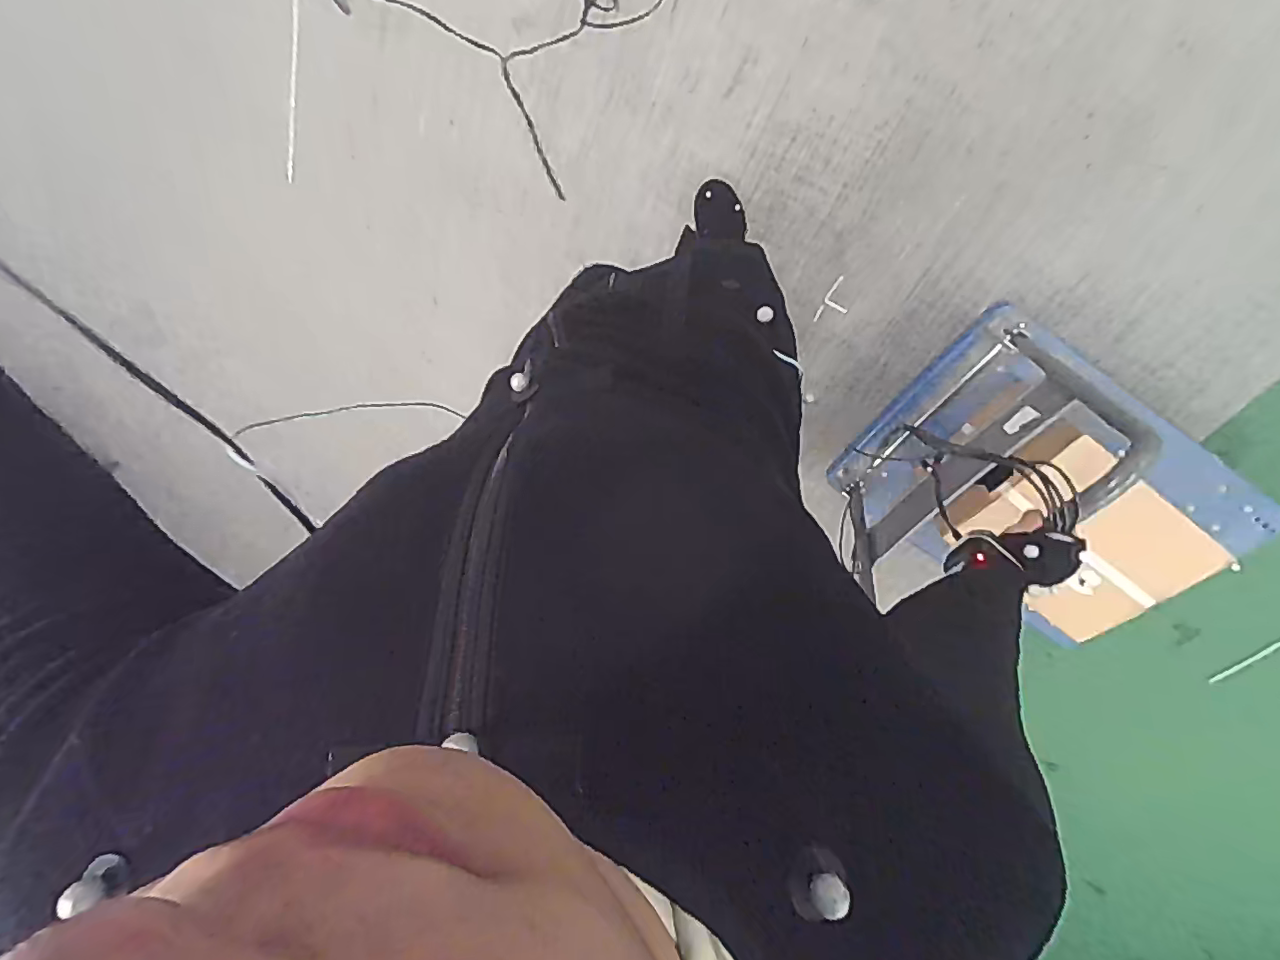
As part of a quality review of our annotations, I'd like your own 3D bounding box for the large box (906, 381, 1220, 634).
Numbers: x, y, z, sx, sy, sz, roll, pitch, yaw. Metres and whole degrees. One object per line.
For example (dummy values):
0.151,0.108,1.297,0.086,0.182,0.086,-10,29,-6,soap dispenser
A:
0.882,0.051,1.196,0.408,0.320,0.320,36,122,-8,large box
